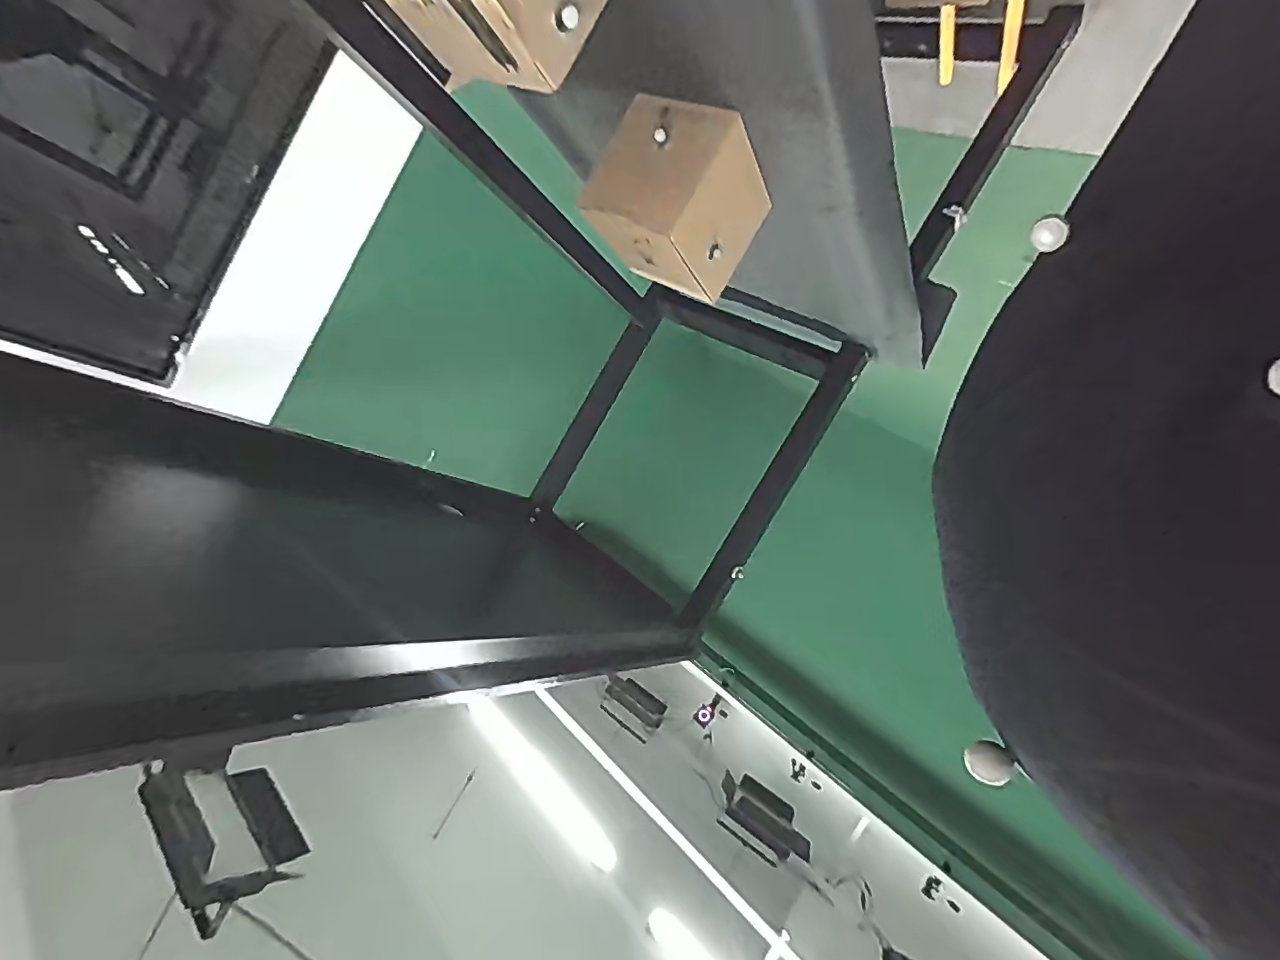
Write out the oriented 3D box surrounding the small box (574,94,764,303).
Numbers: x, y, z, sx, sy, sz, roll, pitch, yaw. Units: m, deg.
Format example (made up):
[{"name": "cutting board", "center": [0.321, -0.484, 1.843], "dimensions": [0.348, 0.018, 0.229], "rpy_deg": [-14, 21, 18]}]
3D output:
[{"name": "small box", "center": [0.049, -0.381, 0.746], "dimensions": [0.168, 0.176, 0.179], "rpy_deg": [32, -175, 28]}]
